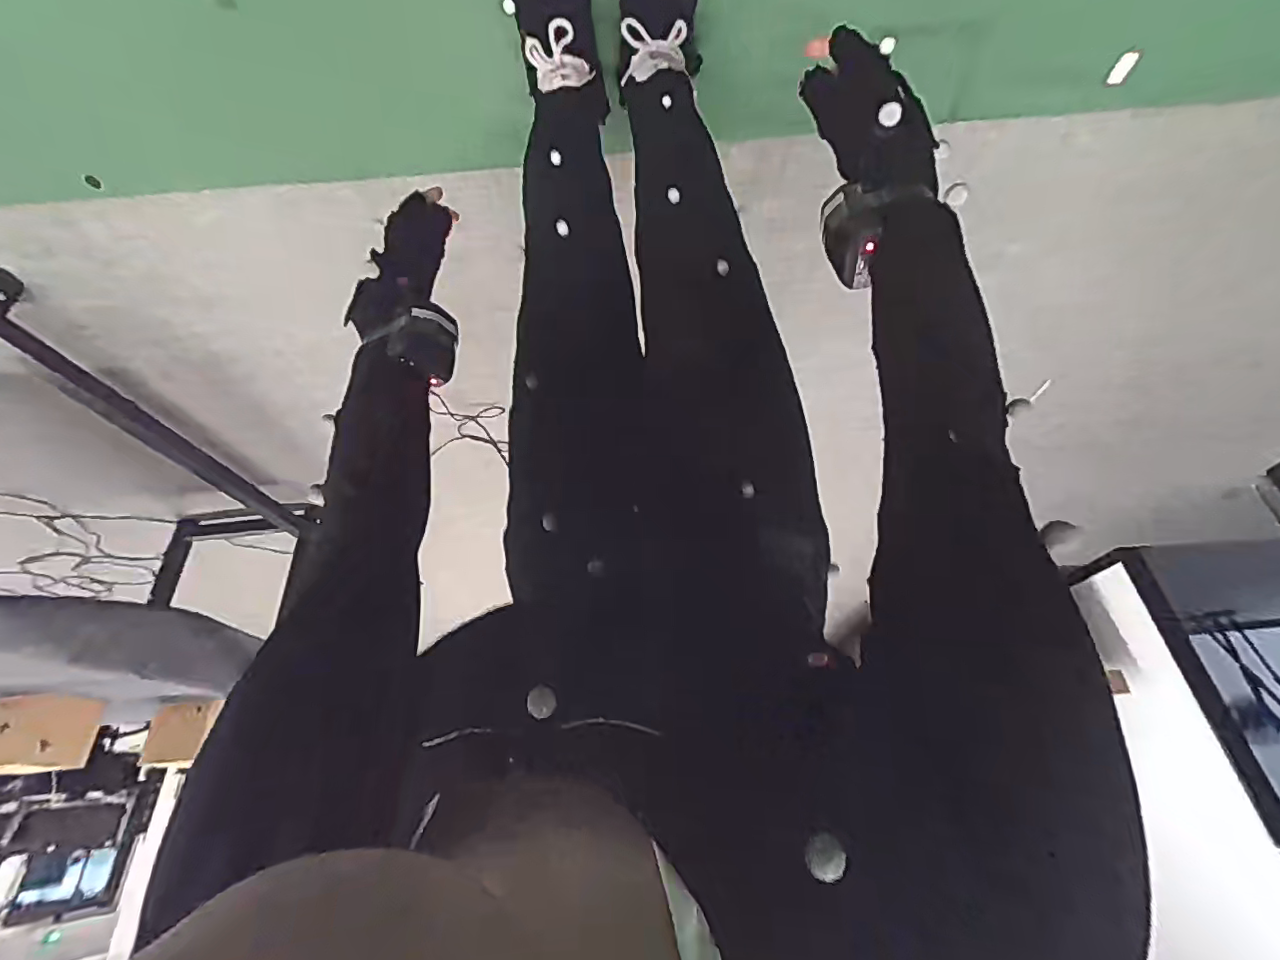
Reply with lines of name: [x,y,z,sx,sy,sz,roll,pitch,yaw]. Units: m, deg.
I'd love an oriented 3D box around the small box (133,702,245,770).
small box: [-1.338,0.764,1.617,0.168,0.176,0.179,-5,151,1]

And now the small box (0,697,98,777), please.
small box: [-1.589,0.665,1.402,0.168,0.176,0.179,-5,150,-1]
